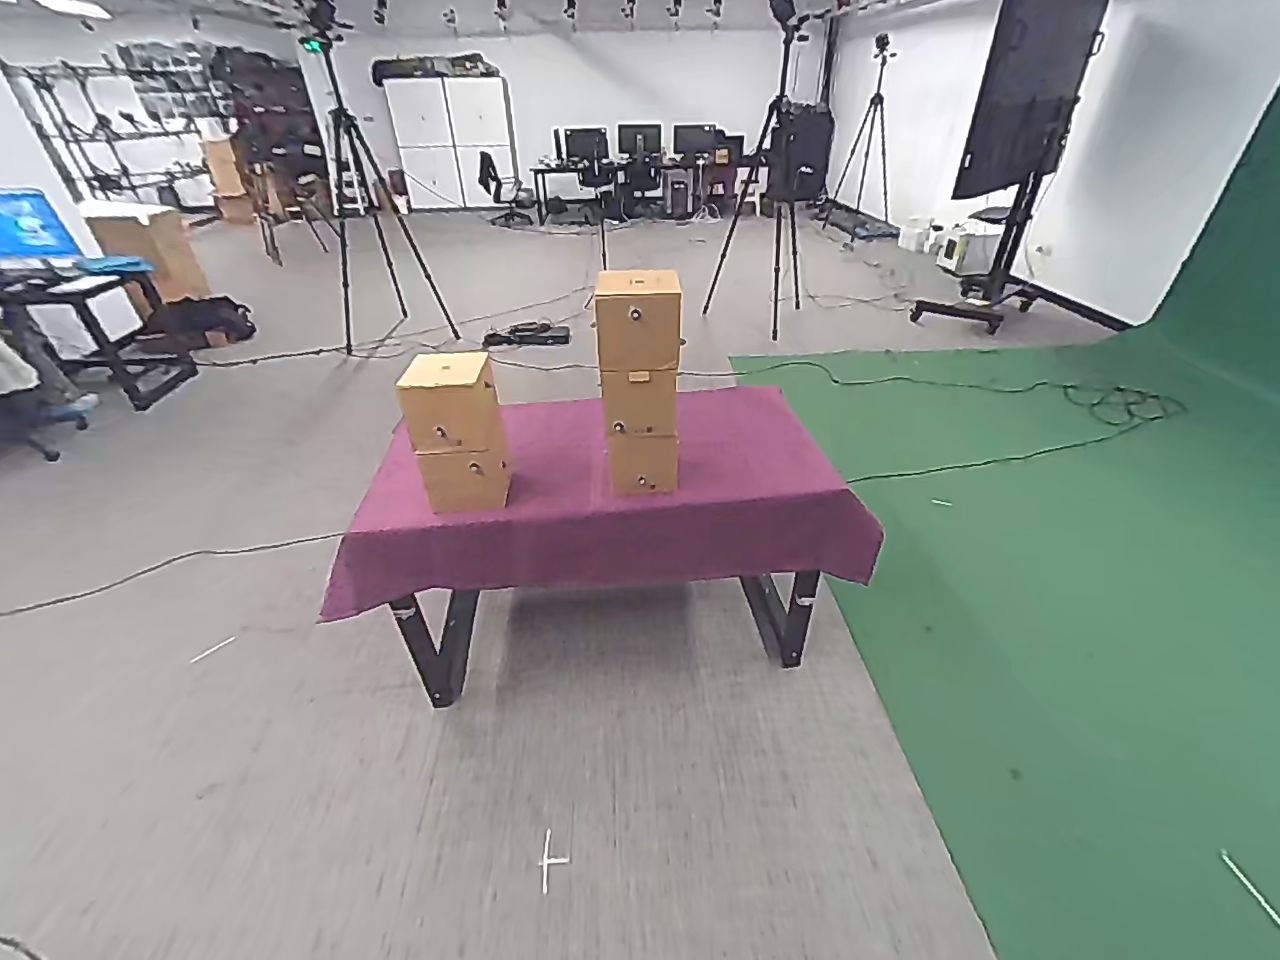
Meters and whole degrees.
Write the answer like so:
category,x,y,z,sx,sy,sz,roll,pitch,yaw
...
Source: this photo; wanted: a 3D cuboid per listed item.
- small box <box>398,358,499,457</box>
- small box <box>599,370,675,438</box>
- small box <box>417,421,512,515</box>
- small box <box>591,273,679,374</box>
category,x,y,z,sx,sy,sz,roll,pitch,yaw
small box,-0.427,-0.168,1.240,0.168,0.176,0.179,-3,35,-2
small box,-0.004,-0.208,1.271,0.168,0.176,0.179,-2,34,0
small box,-0.419,-0.029,1.325,0.179,0.176,0.168,-4,34,-2
small box,-0.007,-0.338,1.172,0.179,0.176,0.168,-1,36,1
